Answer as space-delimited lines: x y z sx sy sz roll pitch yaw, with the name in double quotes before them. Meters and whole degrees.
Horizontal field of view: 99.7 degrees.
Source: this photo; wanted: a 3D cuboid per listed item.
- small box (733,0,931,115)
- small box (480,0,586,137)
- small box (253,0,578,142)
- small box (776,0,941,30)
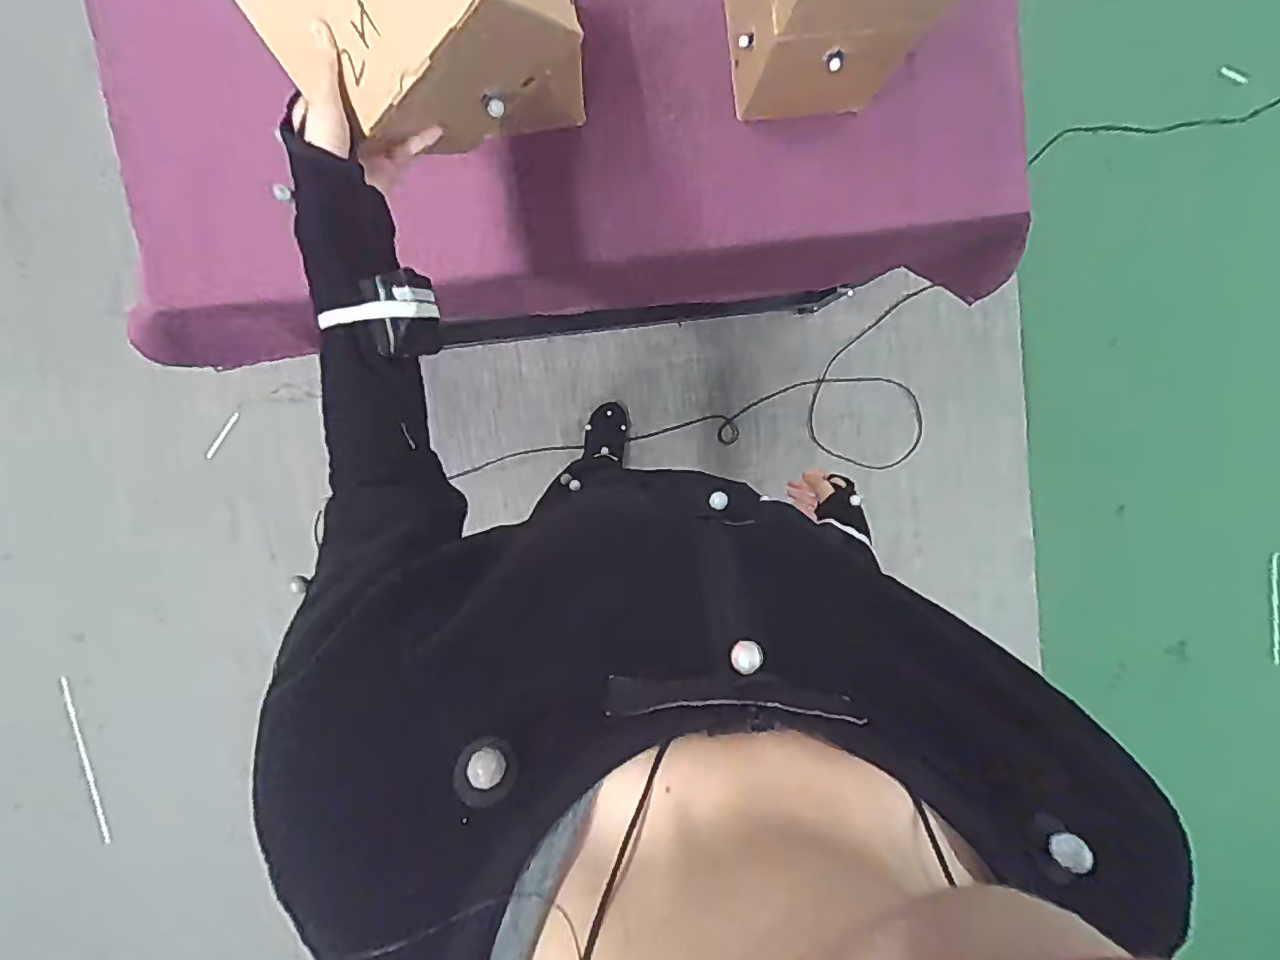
"small box" 0.216 -0.573 0.652 0.179 0.176 0.168 -7 97 -3
"small box" -0.165 -0.533 0.631 0.179 0.176 0.168 -12 96 -4
"small box" -0.181 -0.398 0.427 0.168 0.176 0.179 -22 110 30
"small box" 0.231 -0.556 0.490 0.179 0.176 0.168 -7 97 -2
